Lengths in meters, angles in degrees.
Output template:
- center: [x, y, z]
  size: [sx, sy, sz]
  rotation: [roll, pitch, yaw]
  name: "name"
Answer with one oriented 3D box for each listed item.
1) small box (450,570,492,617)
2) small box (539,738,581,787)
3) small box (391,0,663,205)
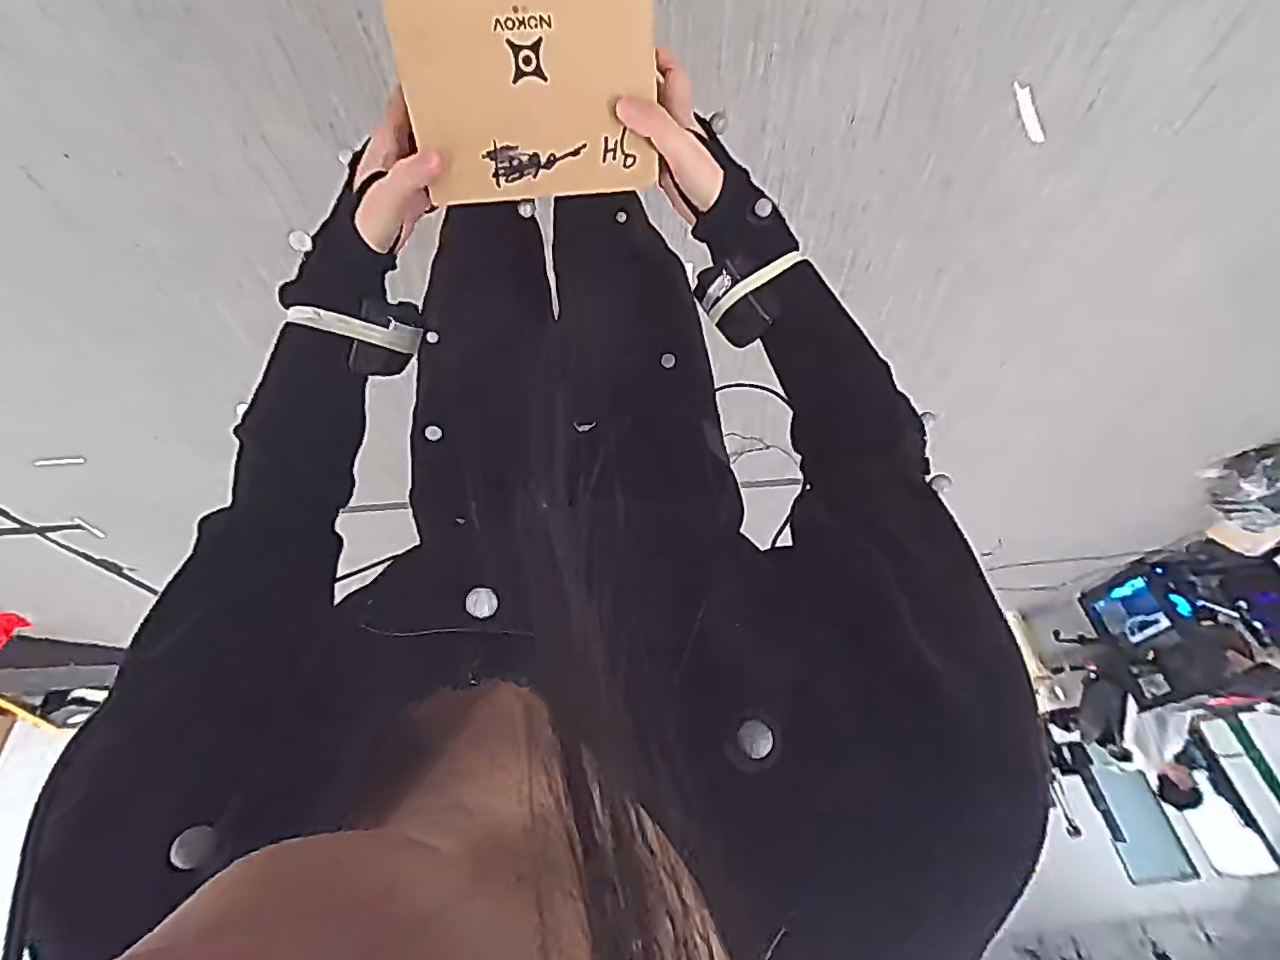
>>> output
- center: [-0.807, 0.539, 2.580]
  size: [0.179, 0.176, 0.168]
  rotation: [5, 143, -17]
  name: "small box"
- center: [-0.348, 1.233, 2.363]
  size: [0.168, 0.176, 0.179]
  rotation: [-3, 147, -3]
  name: "small box"
- center: [-0.079, -0.318, 0.410]
  size: [0.168, 0.176, 0.179]
  rotation: [-7, 123, -5]
  name: "small box"
